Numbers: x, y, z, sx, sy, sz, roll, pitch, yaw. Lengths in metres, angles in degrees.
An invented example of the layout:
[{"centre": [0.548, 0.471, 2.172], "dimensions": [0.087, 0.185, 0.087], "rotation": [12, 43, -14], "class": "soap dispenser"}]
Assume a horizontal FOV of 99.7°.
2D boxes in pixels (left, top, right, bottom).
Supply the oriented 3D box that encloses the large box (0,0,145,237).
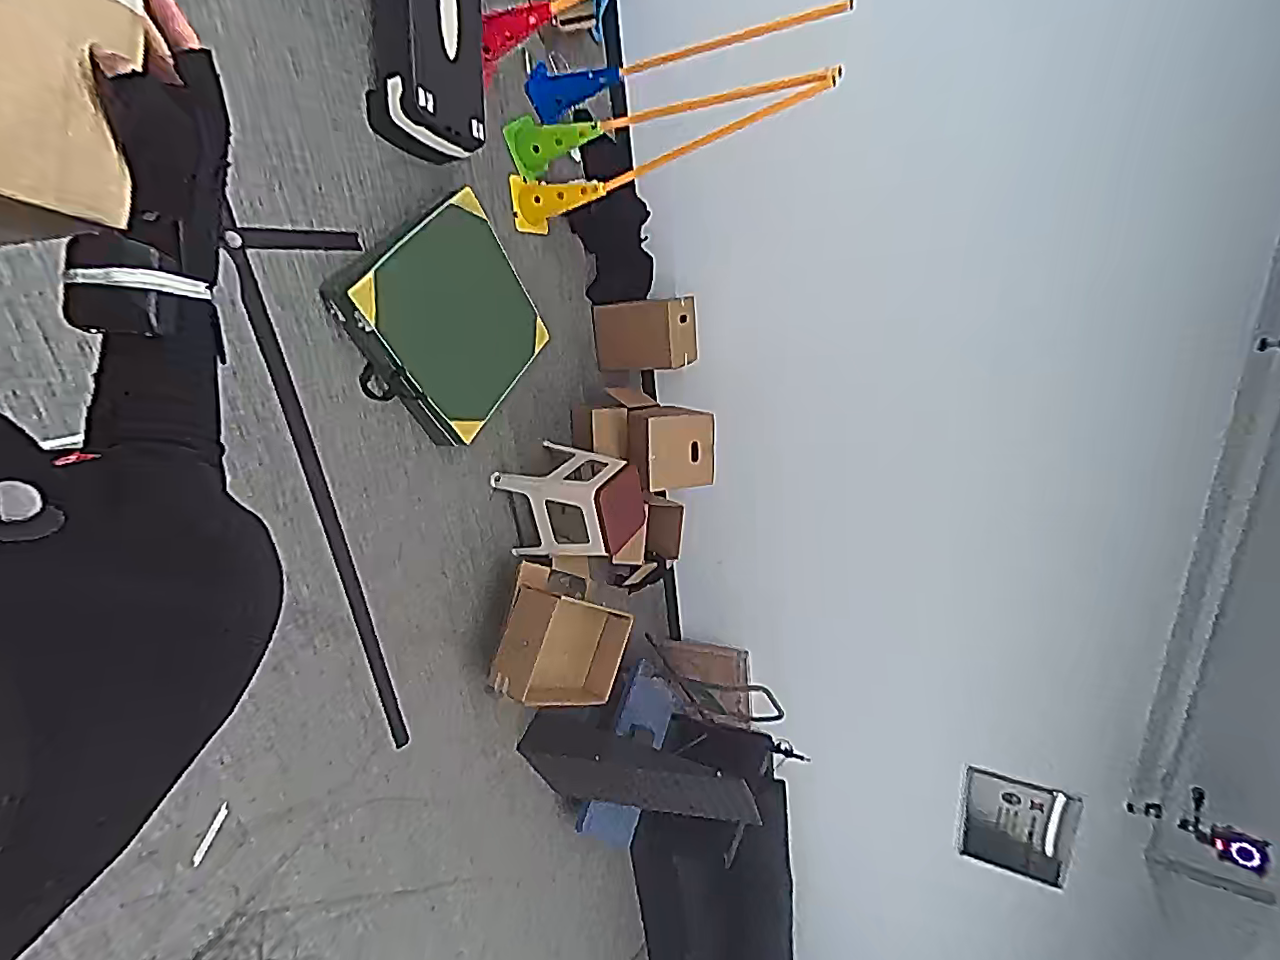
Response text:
[{"centre": [-0.581, -0.362, 0.283], "dimensions": [0.408, 0.320, 0.320], "rotation": [0, 101, -62], "class": "large box"}]
